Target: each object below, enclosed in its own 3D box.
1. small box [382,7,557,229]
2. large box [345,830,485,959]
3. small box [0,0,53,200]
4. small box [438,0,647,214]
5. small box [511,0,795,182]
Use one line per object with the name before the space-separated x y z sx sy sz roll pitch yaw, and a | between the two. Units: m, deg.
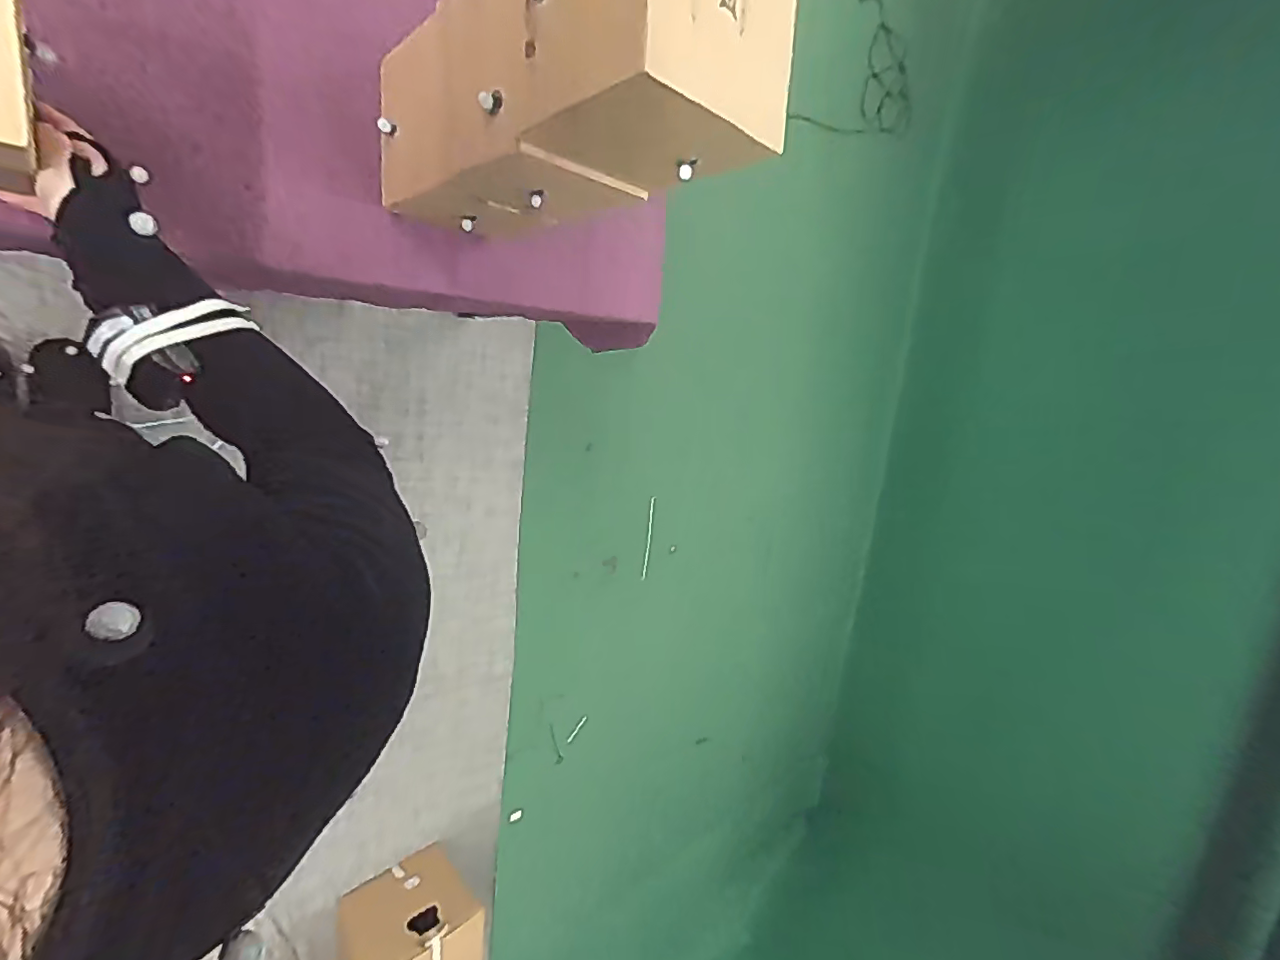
small box | -0.215 -0.435 0.692 0.168 0.176 0.179 -7 107 -45
large box | -0.715 1.447 1.716 0.320 0.320 0.408 -7 108 -45
small box | -0.469 -0.287 0.311 0.168 0.176 0.179 -6 106 -45
small box | -0.101 -0.402 0.577 0.168 0.176 0.179 -8 107 -45
small box | 0.011 -0.374 0.462 0.179 0.176 0.168 -7 106 -44
